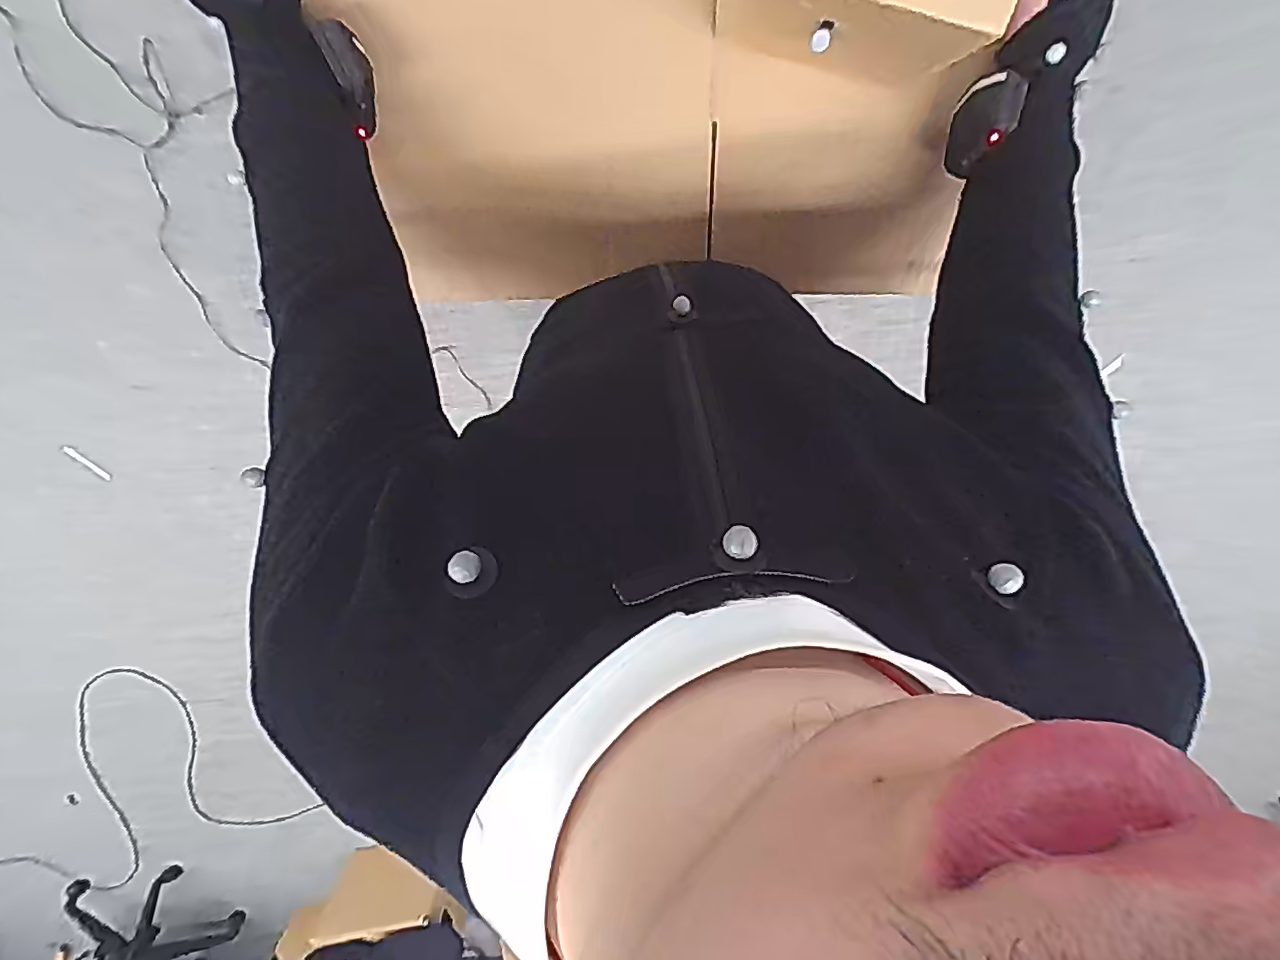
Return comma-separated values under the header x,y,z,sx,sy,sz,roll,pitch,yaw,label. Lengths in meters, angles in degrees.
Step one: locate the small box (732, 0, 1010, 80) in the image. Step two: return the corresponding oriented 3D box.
x,y,z,sx,sy,sz,roll,pitch,yaw,label
0.173,-0.419,0.390,0.179,0.176,0.168,12,116,-2,small box
